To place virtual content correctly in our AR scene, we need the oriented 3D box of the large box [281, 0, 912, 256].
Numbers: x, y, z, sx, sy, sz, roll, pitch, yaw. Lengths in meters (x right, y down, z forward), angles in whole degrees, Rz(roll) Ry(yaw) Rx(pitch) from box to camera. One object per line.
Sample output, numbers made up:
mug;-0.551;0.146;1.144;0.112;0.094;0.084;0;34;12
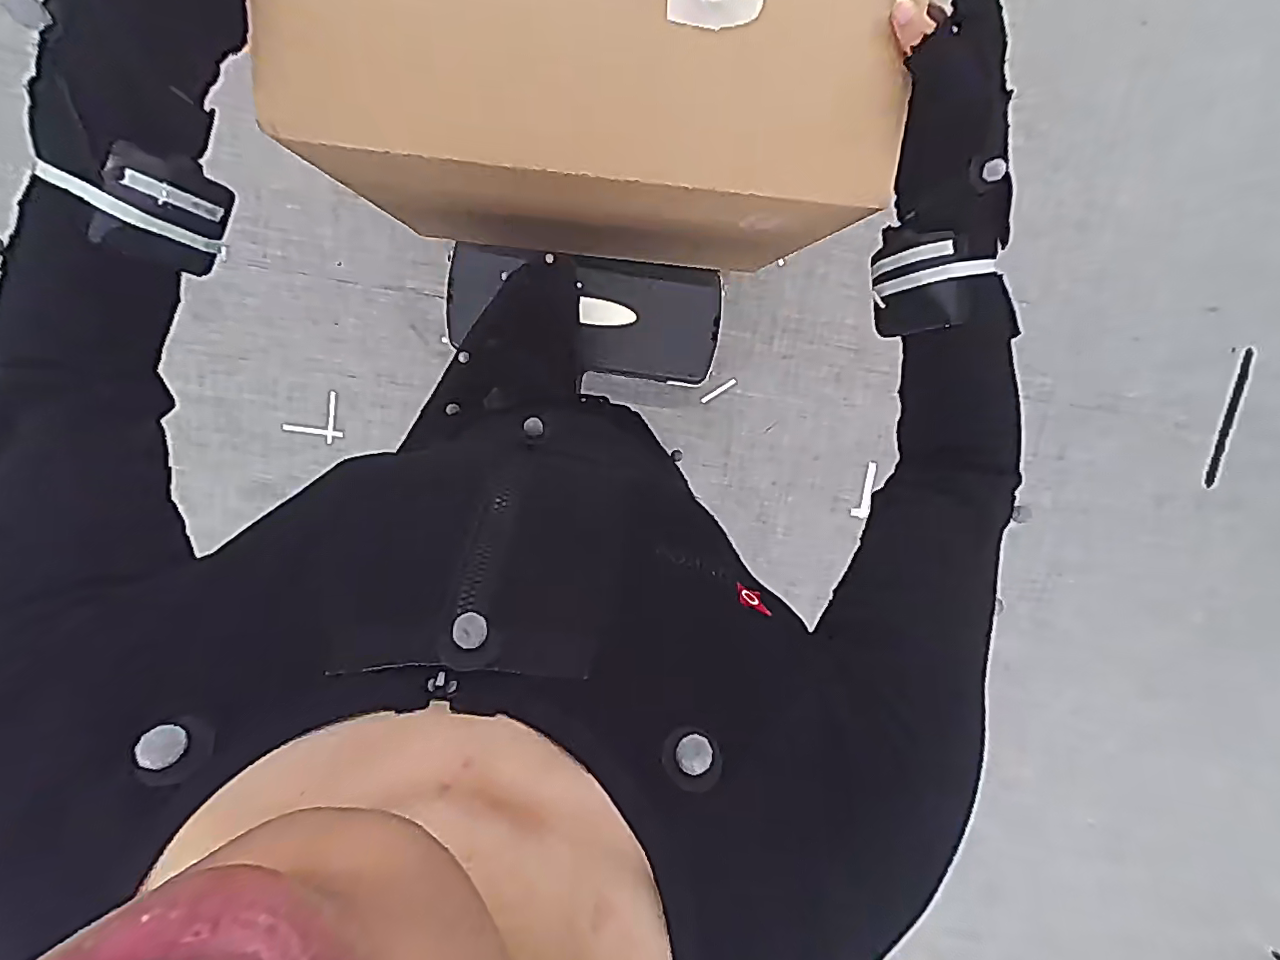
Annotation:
large box;-0.029;-0.396;0.471;0.408;0.320;0.320;3;104;-6
